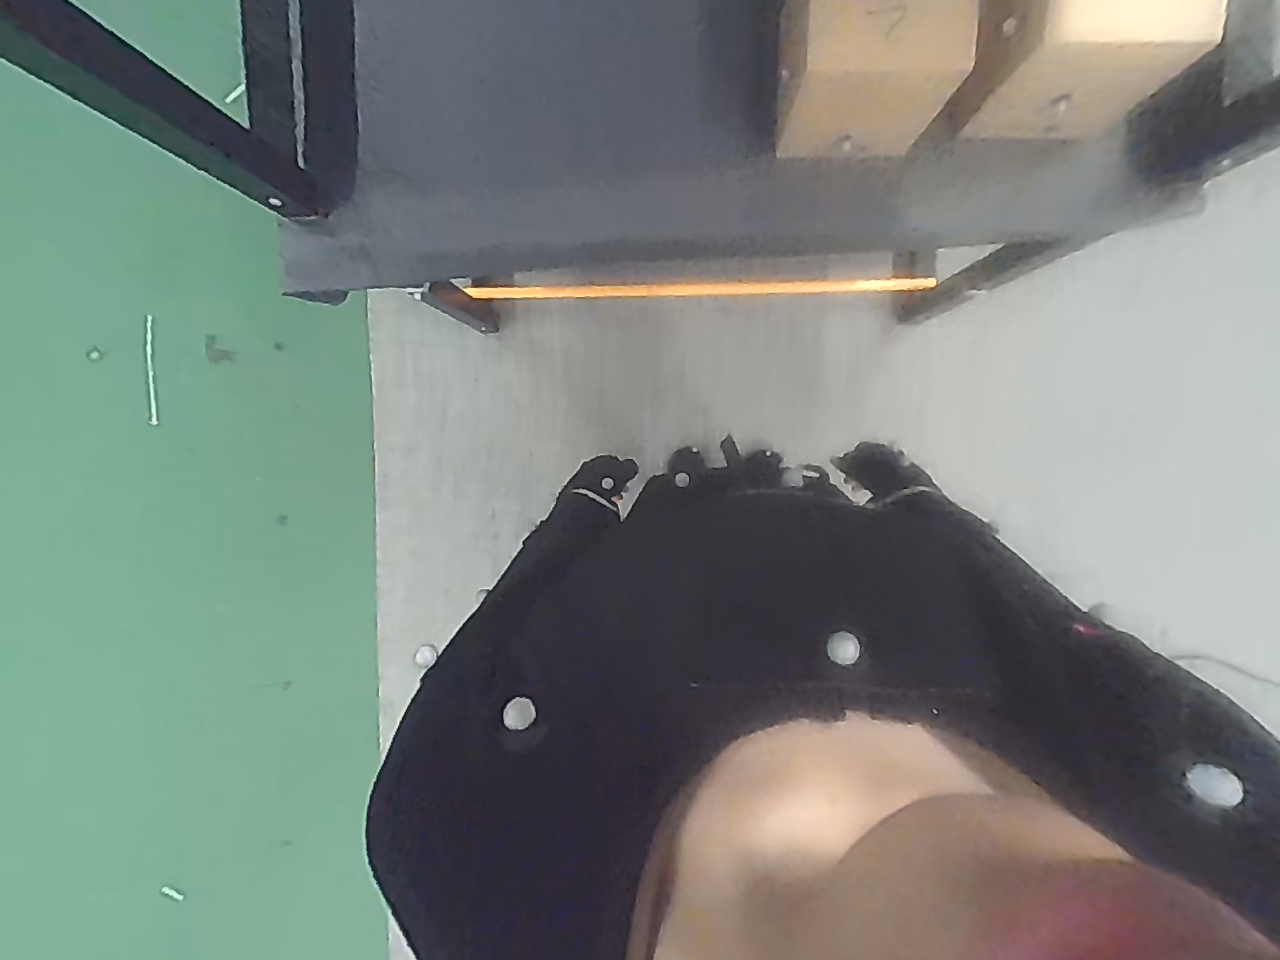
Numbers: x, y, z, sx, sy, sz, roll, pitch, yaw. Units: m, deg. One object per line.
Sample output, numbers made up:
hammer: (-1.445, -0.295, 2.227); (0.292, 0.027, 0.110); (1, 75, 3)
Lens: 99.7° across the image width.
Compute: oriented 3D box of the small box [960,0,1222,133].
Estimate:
small box: (0.484, -0.517, 0.598); (0.168, 0.176, 0.179); (3, 94, 3)
